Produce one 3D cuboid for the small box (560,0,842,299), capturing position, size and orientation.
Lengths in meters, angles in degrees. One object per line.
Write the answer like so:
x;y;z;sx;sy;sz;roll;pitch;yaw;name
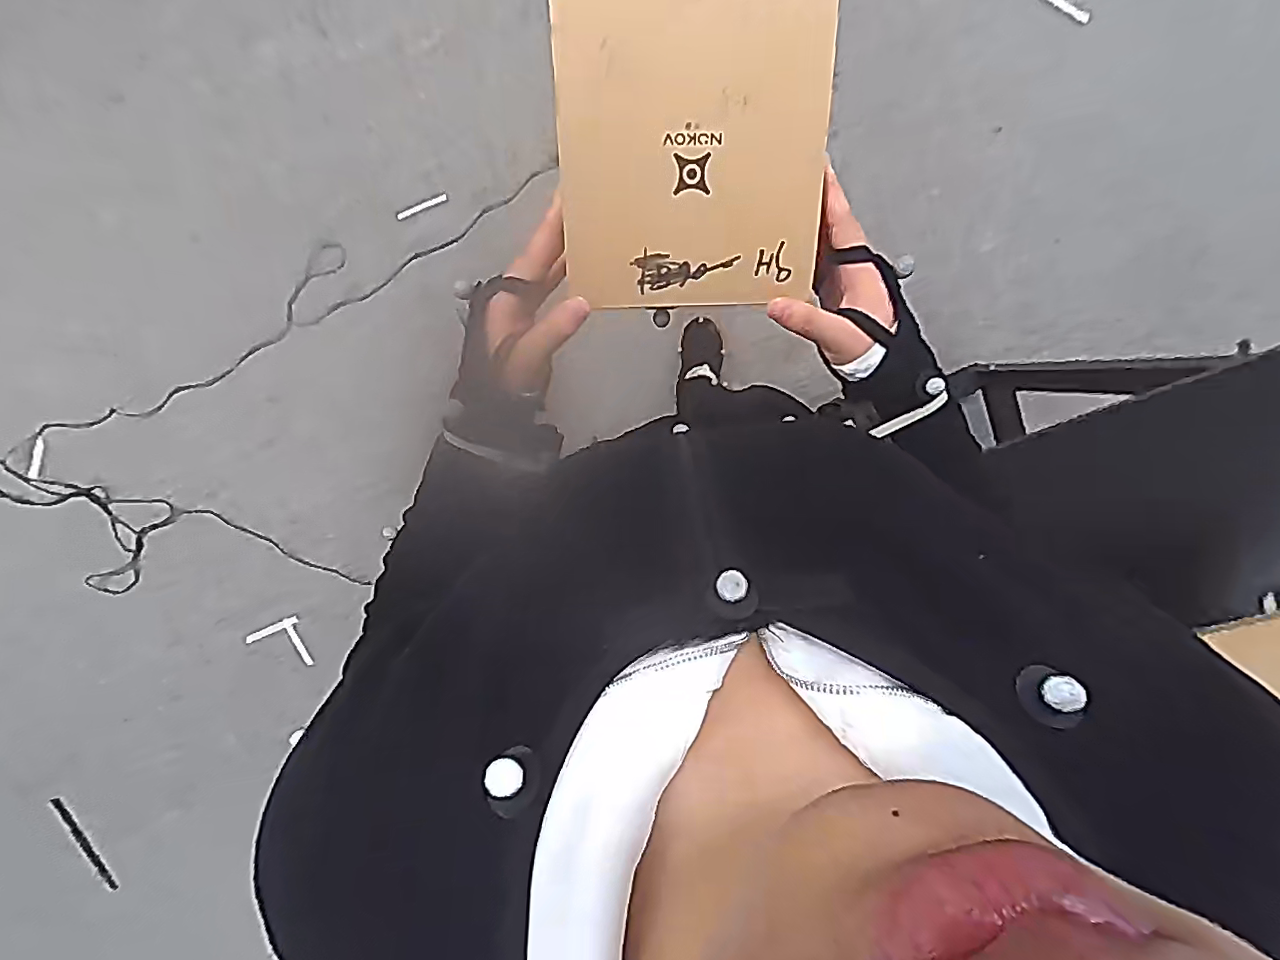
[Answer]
0.030;-0.231;0.404;0.168;0.176;0.179;-3;112;-3;small box
